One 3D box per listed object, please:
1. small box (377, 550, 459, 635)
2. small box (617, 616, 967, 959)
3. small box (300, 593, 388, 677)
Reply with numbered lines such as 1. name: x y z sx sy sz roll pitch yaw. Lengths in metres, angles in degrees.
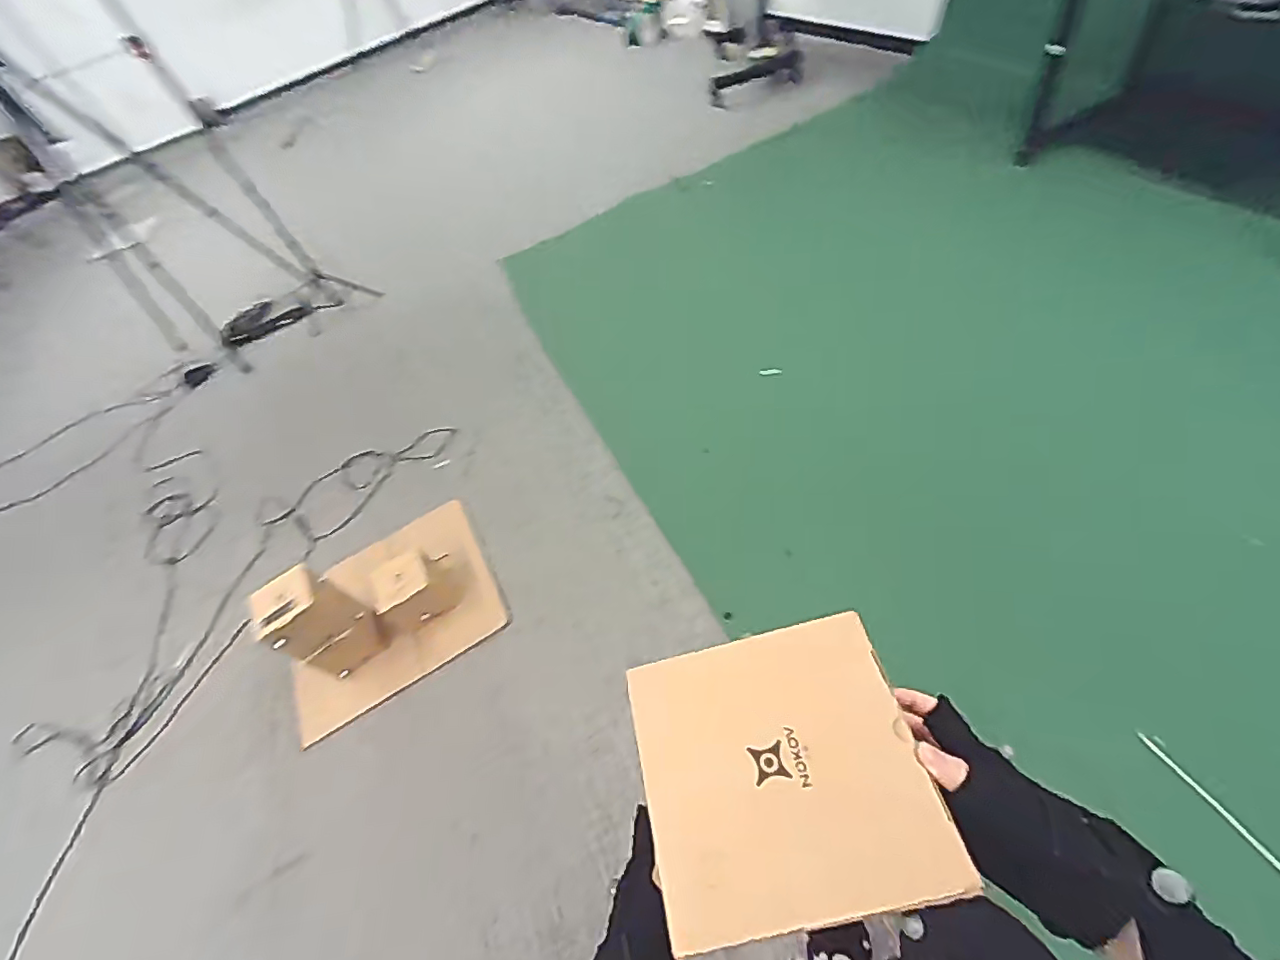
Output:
1. small box: -0.711 0.365 1.736 0.168 0.176 0.179 -31 51 -7
2. small box: 0.097 0.230 0.405 0.179 0.176 0.168 -17 51 2
3. small box: -0.922 0.494 1.695 0.168 0.176 0.179 -34 50 -10
